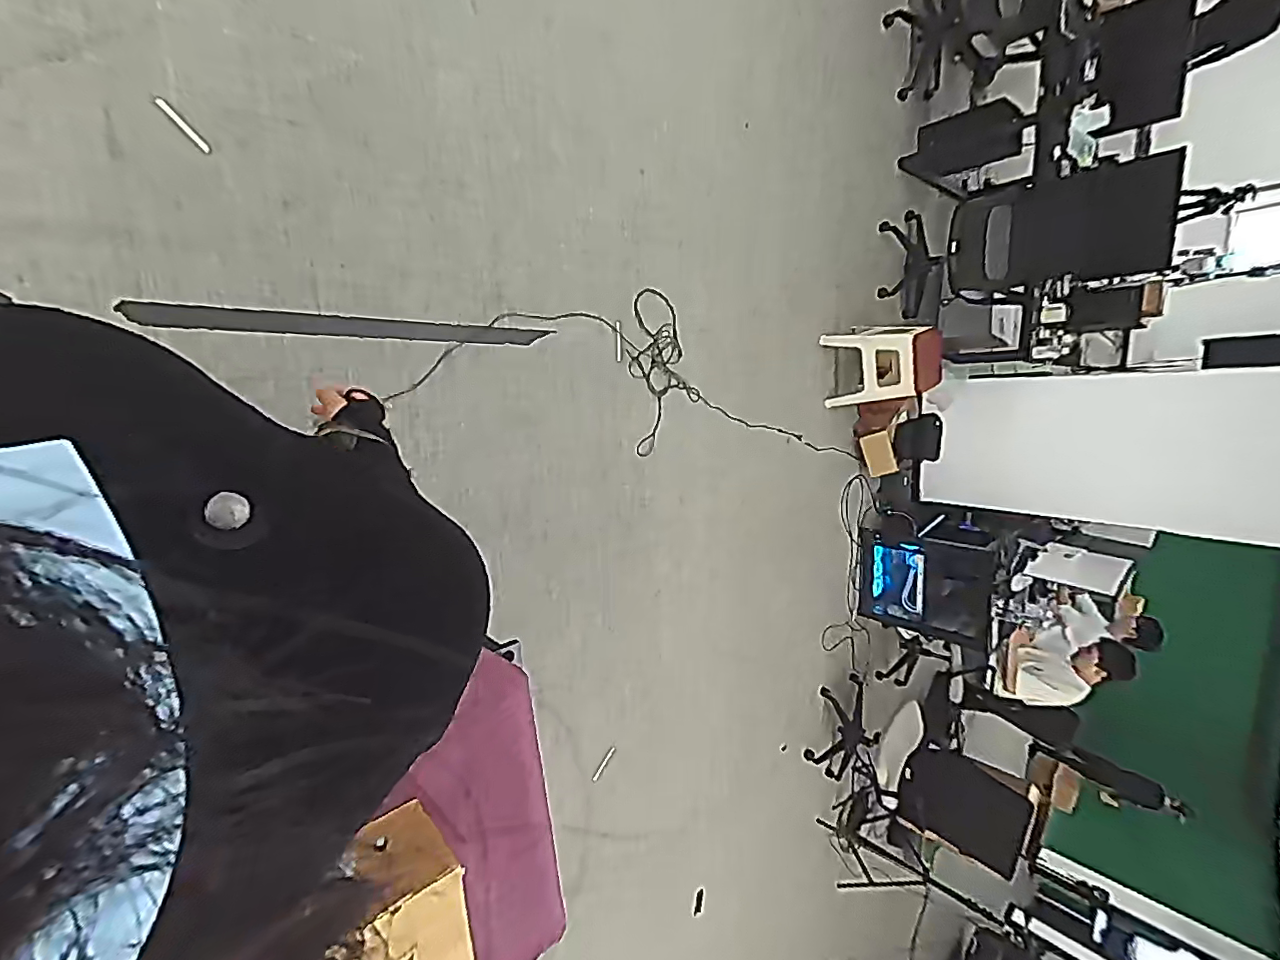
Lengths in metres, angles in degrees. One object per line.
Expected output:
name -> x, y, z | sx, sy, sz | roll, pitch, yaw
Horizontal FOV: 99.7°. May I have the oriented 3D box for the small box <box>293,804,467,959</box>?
small box -> -0.355, 0.598, 0.740 | 0.168, 0.176, 0.179 | -13, 103, -40
